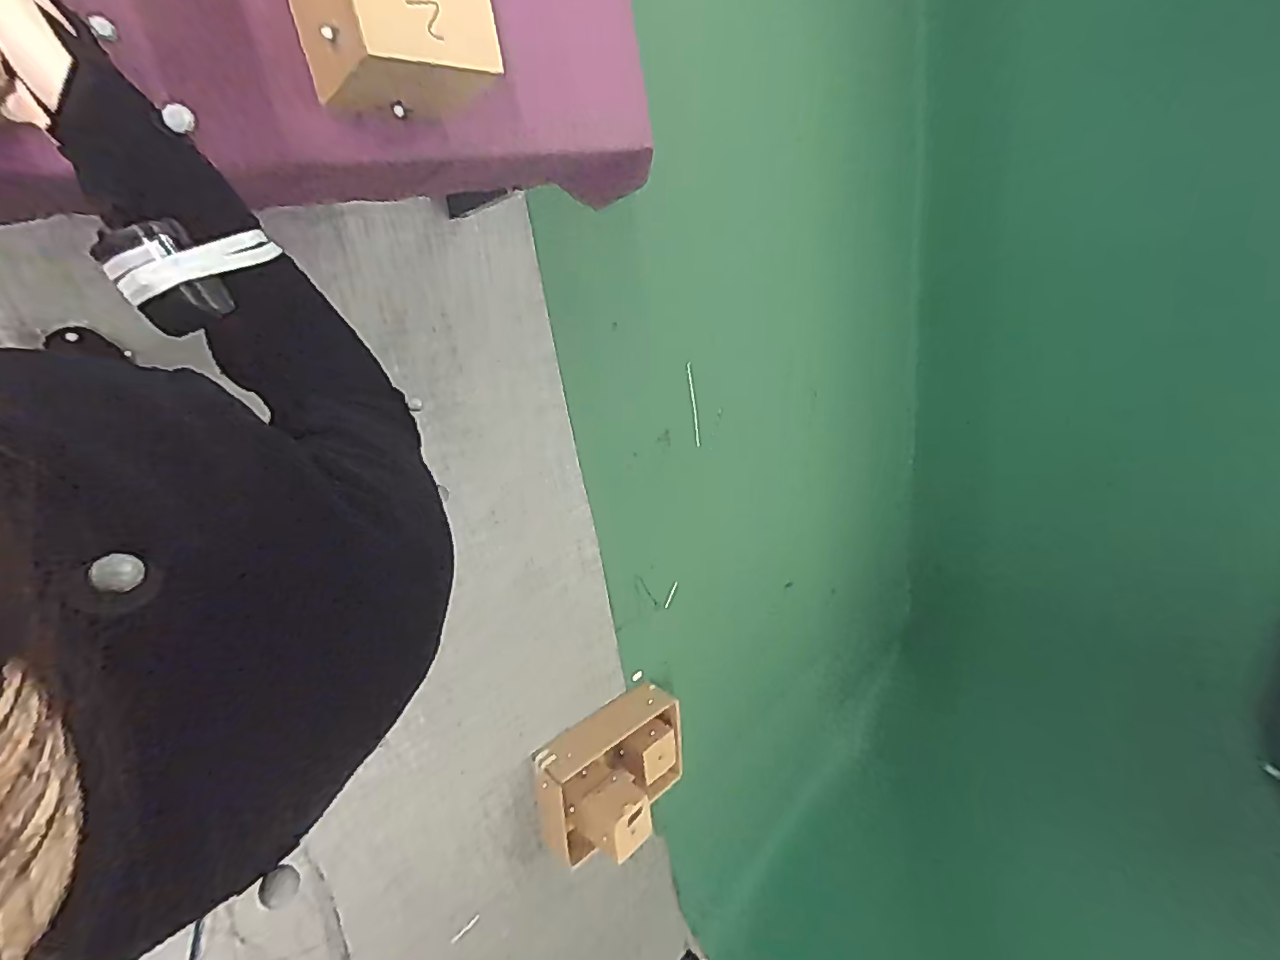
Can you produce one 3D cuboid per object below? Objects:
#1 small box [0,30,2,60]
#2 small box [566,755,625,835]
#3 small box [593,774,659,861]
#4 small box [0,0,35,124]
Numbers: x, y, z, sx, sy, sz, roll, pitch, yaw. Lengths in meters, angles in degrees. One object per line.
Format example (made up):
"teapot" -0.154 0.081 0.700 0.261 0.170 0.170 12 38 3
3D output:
"small box" -0.464 -0.326 0.253 0.168 0.176 0.179 -29 120 -40
"small box" -0.161 1.170 2.034 0.168 0.176 0.179 -21 111 -39
"small box" -0.052 1.179 1.911 0.168 0.176 0.179 -20 111 -41
"small box" -0.582 -0.370 0.378 0.179 0.176 0.168 -27 115 -38
